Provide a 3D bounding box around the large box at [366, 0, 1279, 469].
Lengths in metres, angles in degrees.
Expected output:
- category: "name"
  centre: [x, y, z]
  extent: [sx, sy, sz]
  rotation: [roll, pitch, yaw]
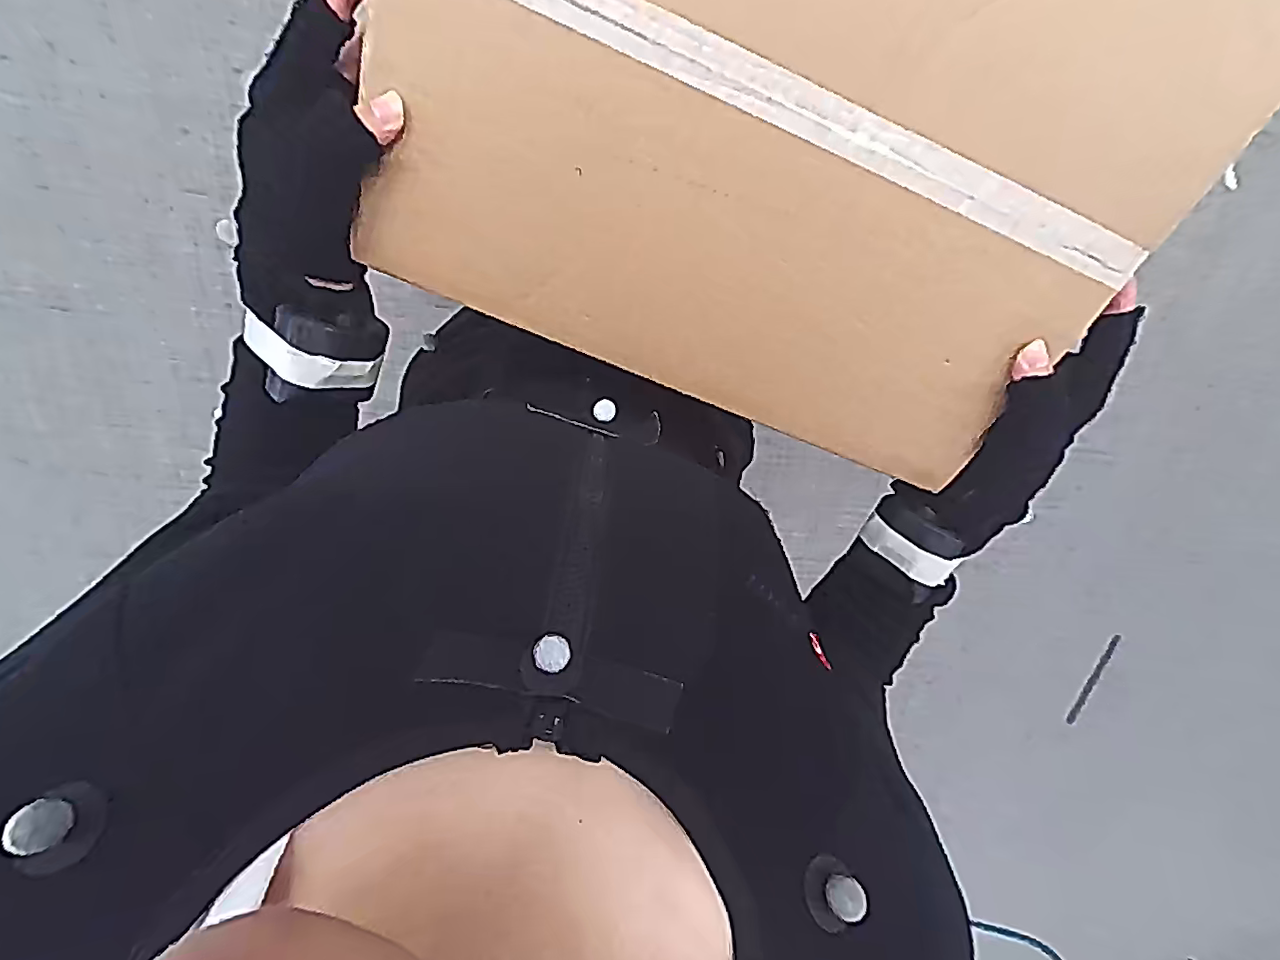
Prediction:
- category: "large box"
  centre: [0.081, -0.269, 0.393]
  extent: [0.408, 0.320, 0.320]
  rotation: [20, 124, -8]
